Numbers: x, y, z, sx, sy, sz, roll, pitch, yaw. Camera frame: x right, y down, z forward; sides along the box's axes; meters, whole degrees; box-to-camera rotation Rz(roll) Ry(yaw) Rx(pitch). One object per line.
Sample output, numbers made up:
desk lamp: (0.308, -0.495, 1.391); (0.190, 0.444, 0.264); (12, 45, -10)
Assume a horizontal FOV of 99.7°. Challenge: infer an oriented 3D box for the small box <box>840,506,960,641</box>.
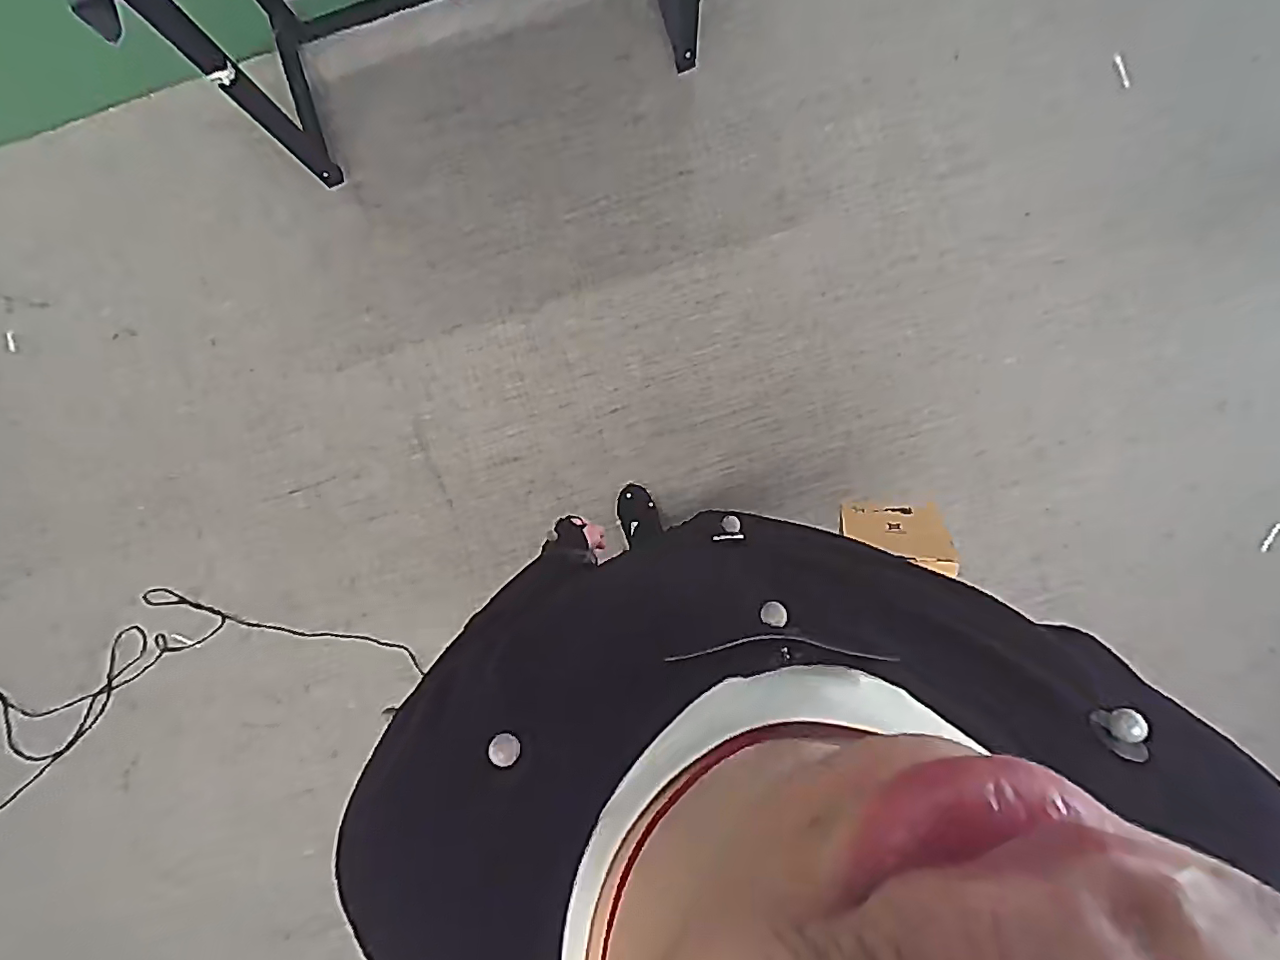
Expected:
small box: (0.443, 0.160, 0.948); (0.168, 0.179, 0.176); (0, 116, 17)
